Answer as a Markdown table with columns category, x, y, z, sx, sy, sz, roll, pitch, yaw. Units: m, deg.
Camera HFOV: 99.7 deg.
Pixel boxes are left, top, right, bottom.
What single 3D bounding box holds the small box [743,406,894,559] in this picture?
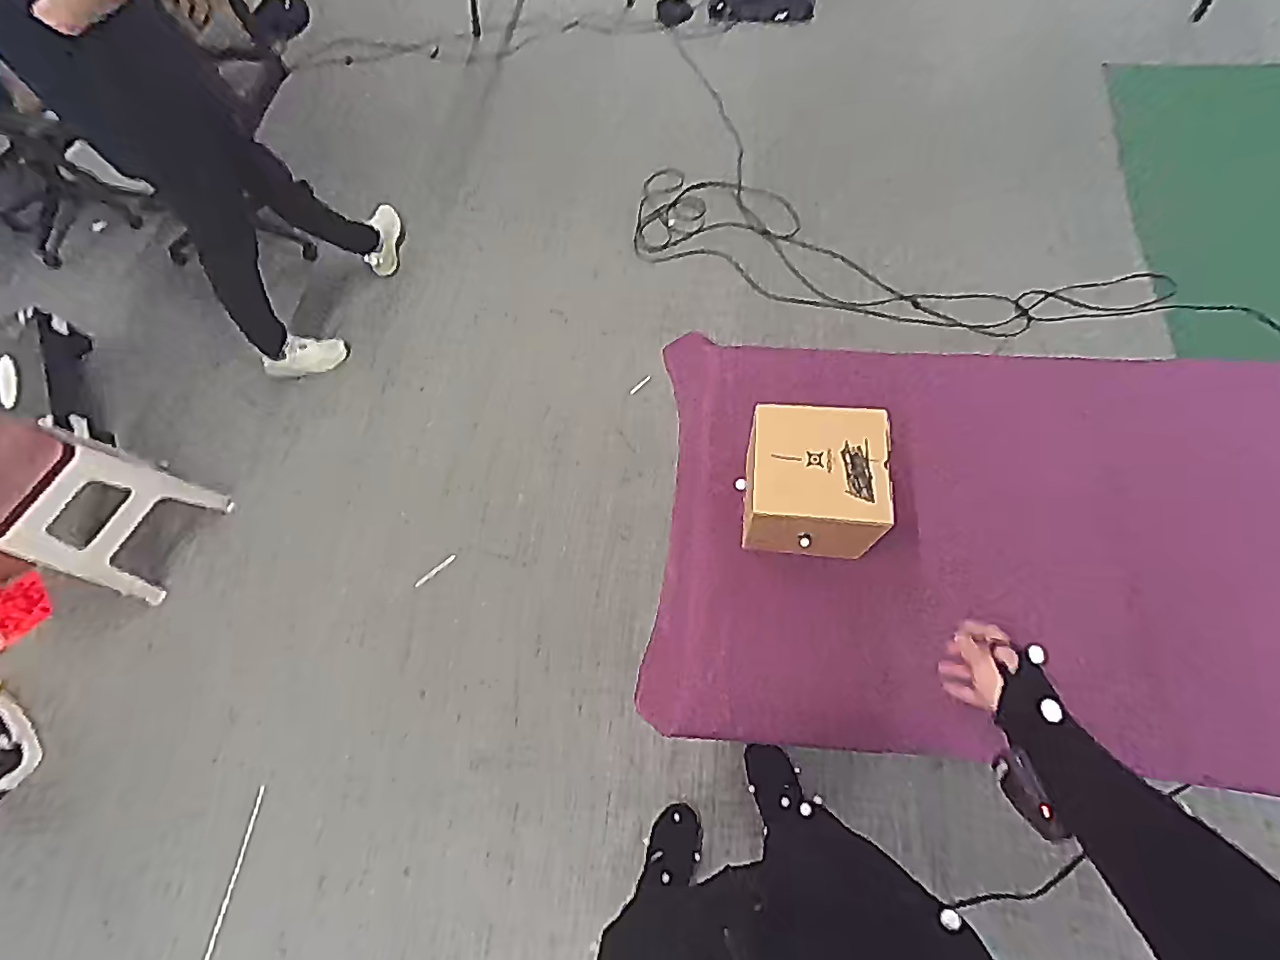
| category | x | y | z | sx | sy | sz | roll | pitch | yaw |
| --- | --- | --- | --- | --- | --- | --- | --- | --- | --- |
| small box | 0.247 | 0.010 | 0.781 | 0.179 | 0.176 | 0.168 | 4 | 67 | 9 |
